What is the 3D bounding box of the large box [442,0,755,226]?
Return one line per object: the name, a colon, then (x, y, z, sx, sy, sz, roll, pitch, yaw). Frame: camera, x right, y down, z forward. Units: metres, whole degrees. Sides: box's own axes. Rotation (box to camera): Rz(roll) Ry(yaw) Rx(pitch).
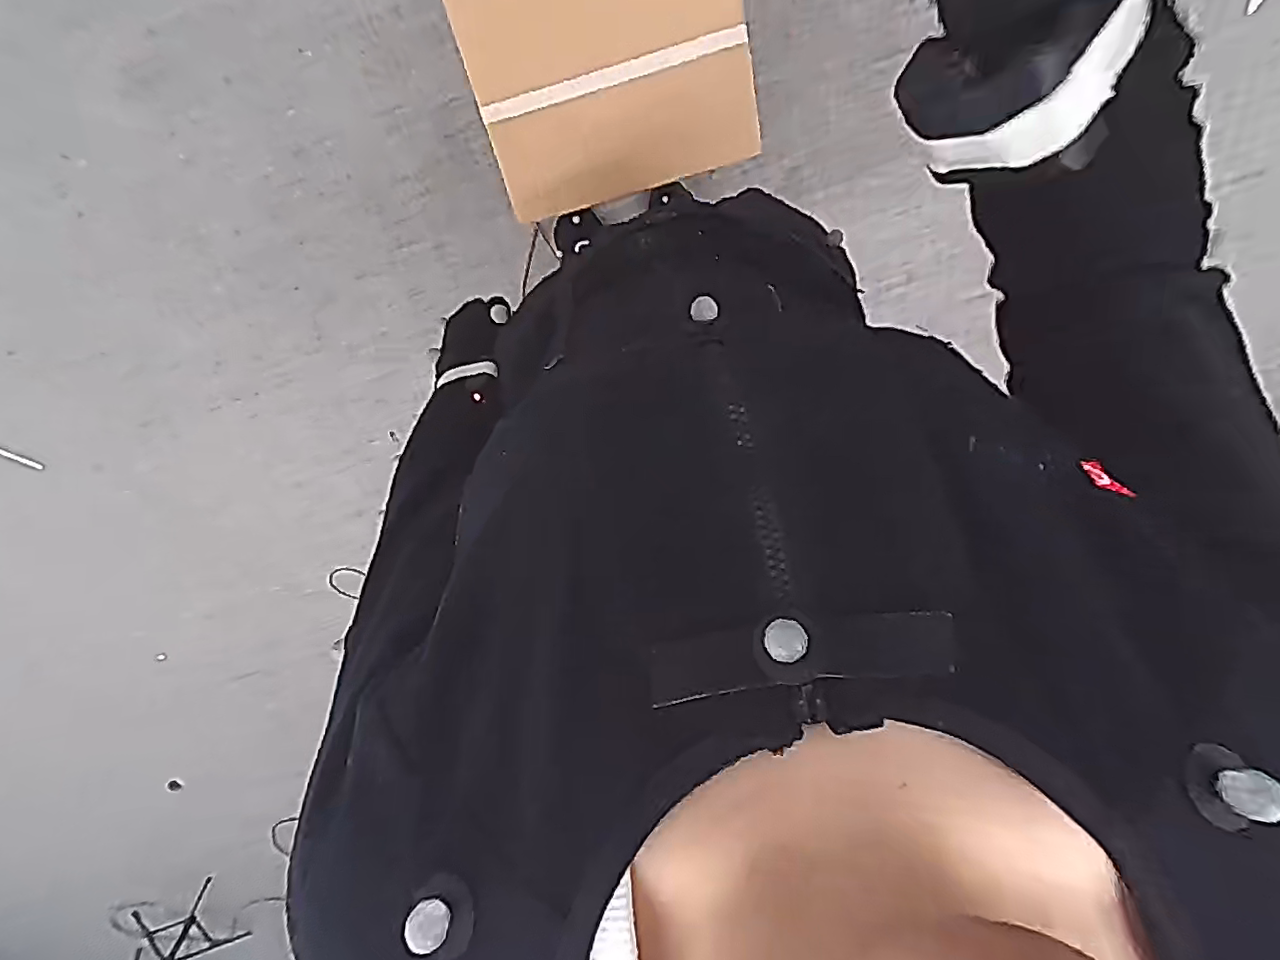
large box: (-0.054, -0.668, 0.924, 0.408, 0.320, 0.320, -14, 119, 4)
